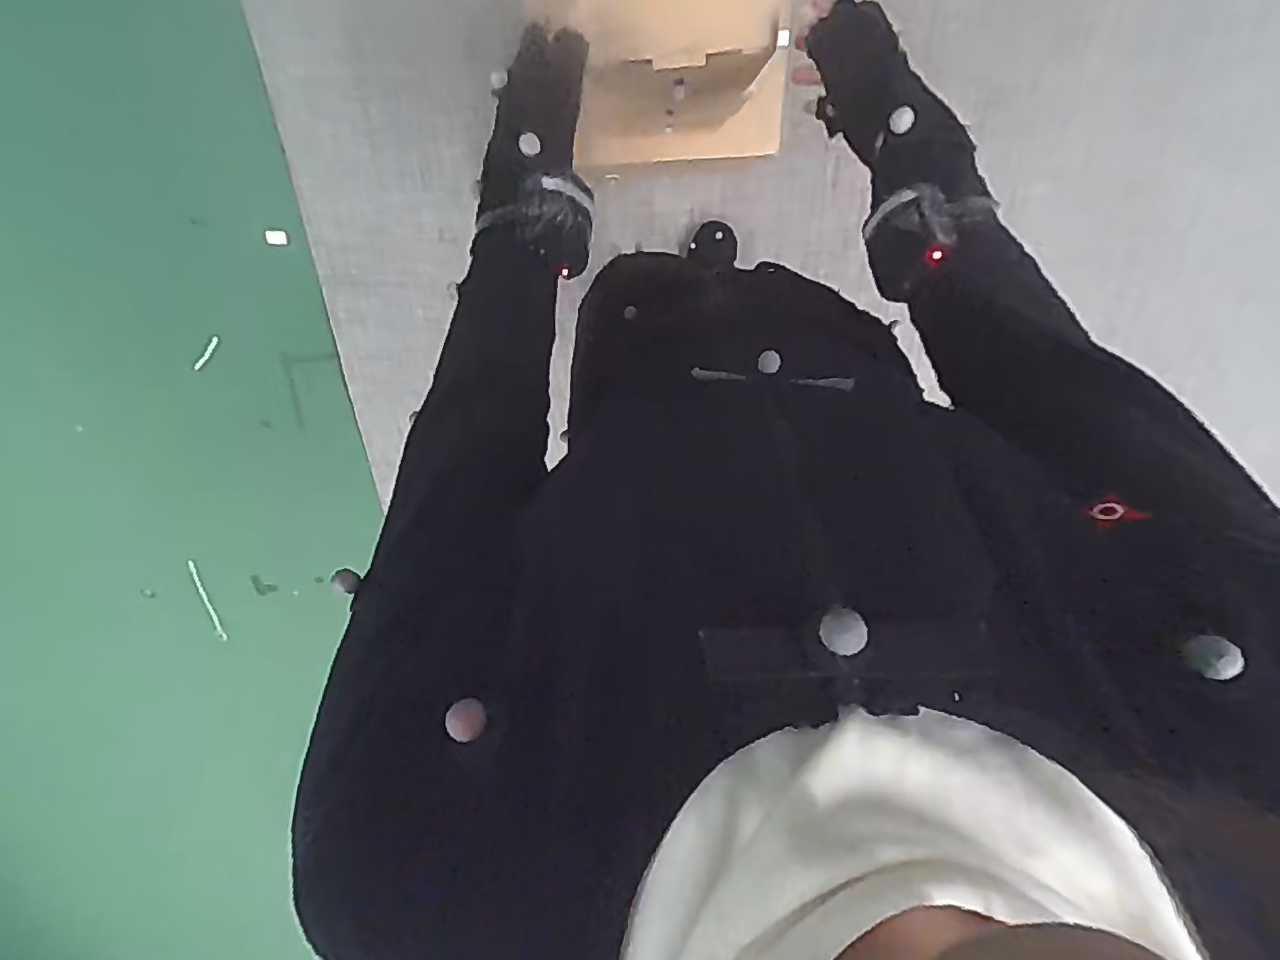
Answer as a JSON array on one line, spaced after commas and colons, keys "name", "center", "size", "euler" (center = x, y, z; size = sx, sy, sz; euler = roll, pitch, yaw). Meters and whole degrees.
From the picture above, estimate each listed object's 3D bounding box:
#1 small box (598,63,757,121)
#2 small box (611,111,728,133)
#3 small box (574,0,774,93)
[{"name": "small box", "center": [0.041, -0.534, 0.636], "size": [0.179, 0.176, 0.168], "euler": [-1, 117, 5]}, {"name": "small box", "center": [0.044, -0.612, 0.780], "size": [0.179, 0.176, 0.168], "euler": [-3, 117, 3]}, {"name": "small box", "center": [0.030, -0.468, 0.487], "size": [0.168, 0.176, 0.179], "euler": [-3, 118, 5]}]
